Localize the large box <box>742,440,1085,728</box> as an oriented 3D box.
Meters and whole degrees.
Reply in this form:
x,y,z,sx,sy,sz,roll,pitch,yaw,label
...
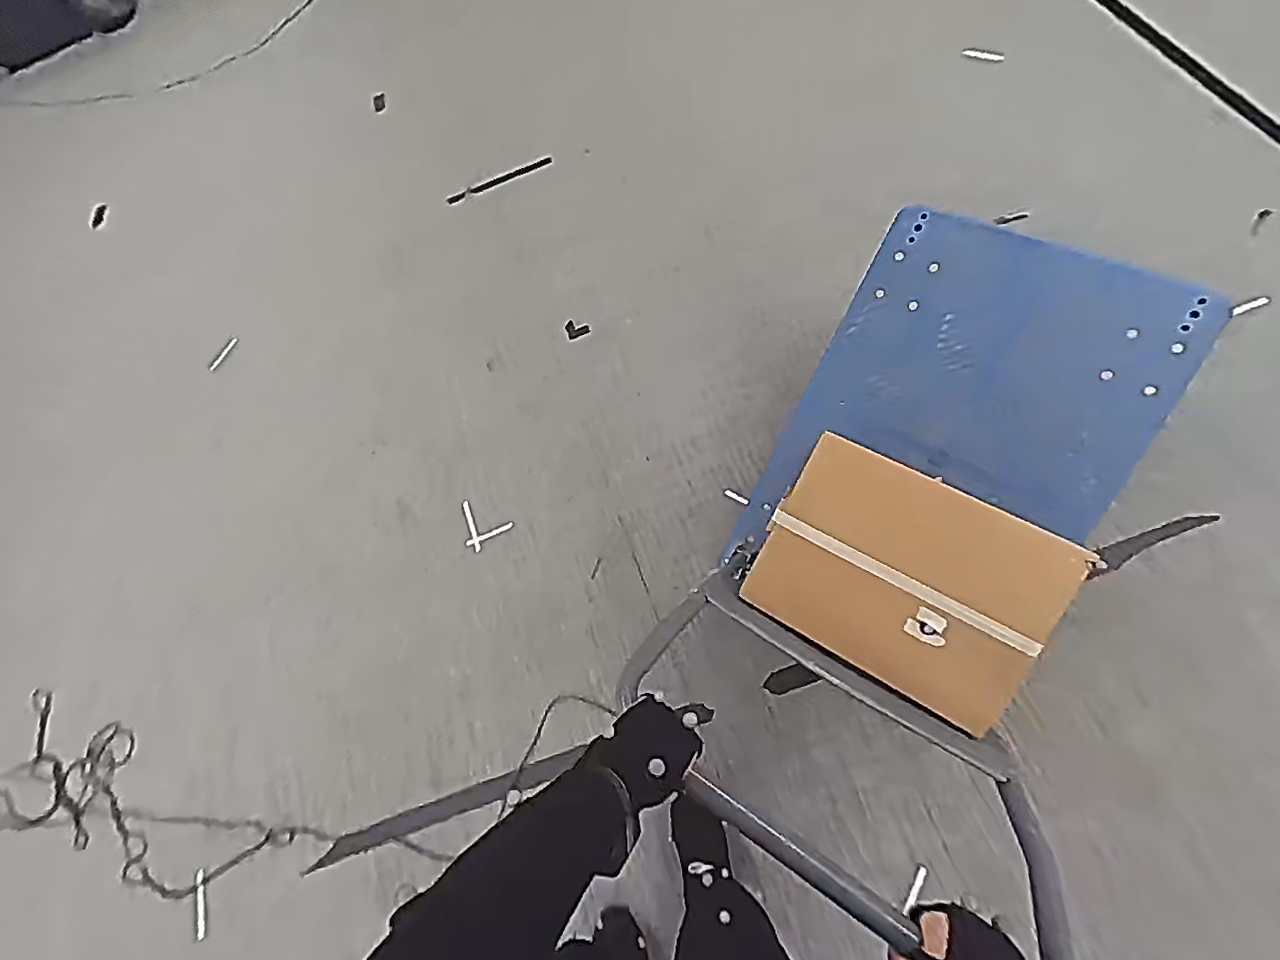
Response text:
x,y,z,sx,sy,sz,roll,pitch,yaw,label
0.449,0.152,0.985,0.408,0.320,0.320,28,101,18,large box
